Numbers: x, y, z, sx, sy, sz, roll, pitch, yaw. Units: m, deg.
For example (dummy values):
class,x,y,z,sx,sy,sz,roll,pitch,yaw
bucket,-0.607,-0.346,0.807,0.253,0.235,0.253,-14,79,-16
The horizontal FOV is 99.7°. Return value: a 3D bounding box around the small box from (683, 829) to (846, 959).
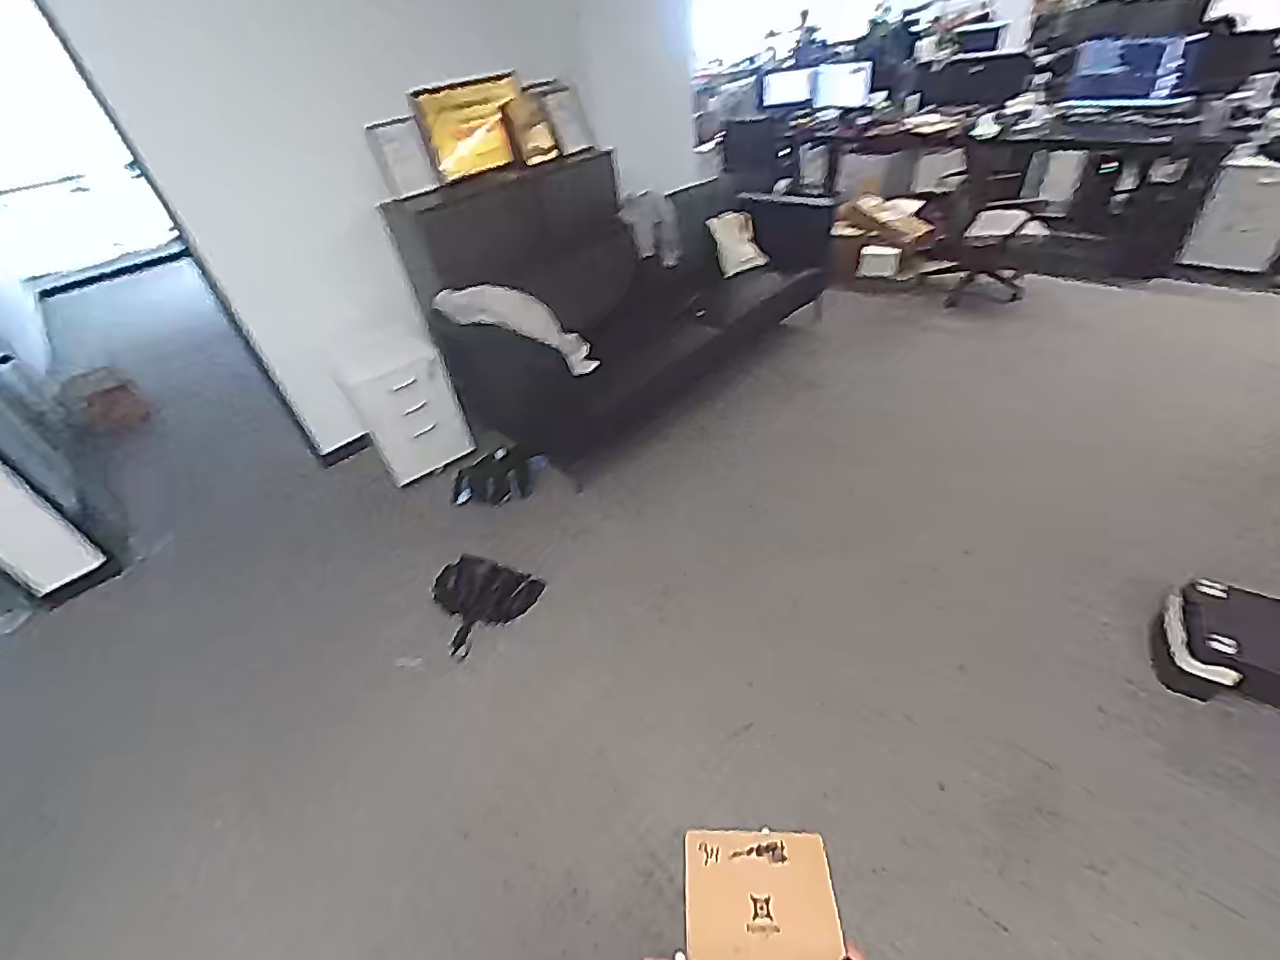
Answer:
class,x,y,z,sx,sy,sz,roll,pitch,yaw
small box,0.136,0.533,0.617,0.168,0.176,0.179,-3,32,5
